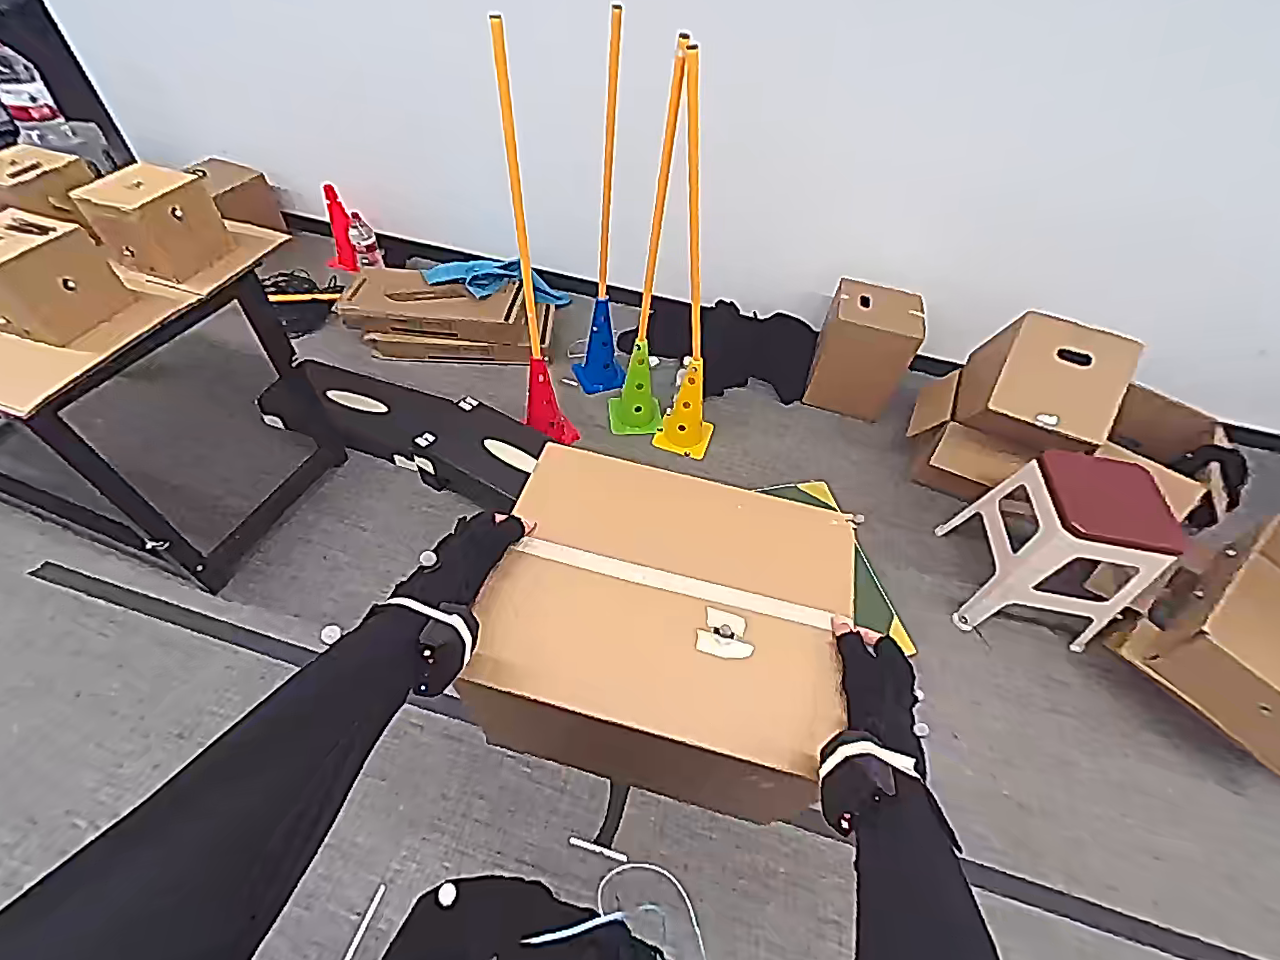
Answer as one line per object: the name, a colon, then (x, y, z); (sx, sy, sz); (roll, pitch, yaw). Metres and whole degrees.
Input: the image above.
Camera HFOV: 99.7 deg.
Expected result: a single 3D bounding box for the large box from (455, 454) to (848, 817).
large box: (0.025, 0.214, 0.734); (0.408, 0.320, 0.320); (14, 53, 5)
